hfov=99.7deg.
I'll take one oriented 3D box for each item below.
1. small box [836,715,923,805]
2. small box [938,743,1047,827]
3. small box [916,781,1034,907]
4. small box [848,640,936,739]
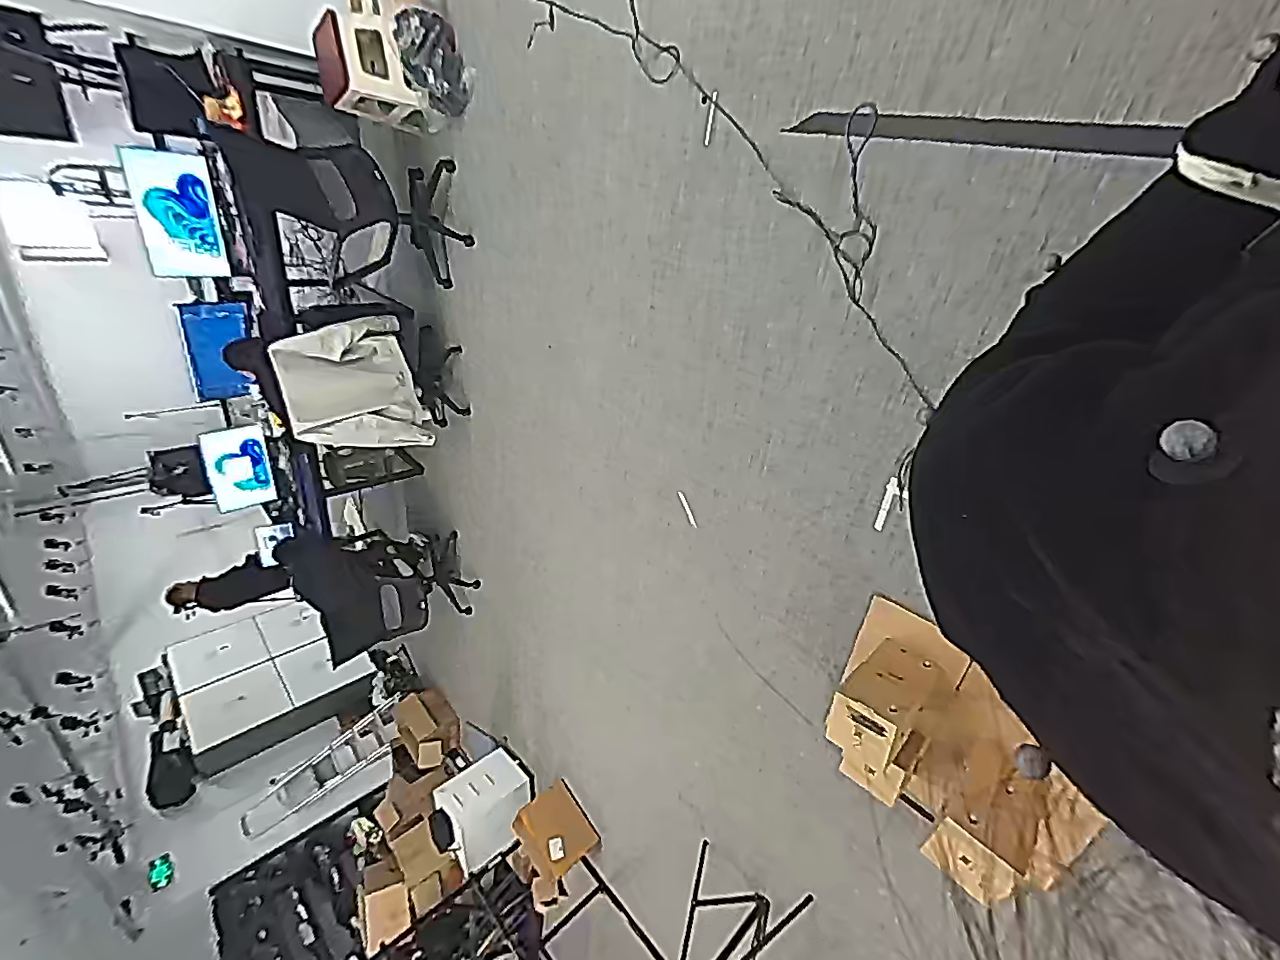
[{"bbox_3d":[0.745,0.849,1.682,0.179,0.176,0.168,25,123,39],"label":"small box"},{"bbox_3d":[0.950,0.846,1.456,0.179,0.176,0.168,32,126,34],"label":"small box"},{"bbox_3d":[0.835,0.890,1.347,0.179,0.176,0.168,33,127,33],"label":"small box"},{"bbox_3d":[0.742,0.605,1.588,0.168,0.176,0.179,26,123,39],"label":"small box"}]
